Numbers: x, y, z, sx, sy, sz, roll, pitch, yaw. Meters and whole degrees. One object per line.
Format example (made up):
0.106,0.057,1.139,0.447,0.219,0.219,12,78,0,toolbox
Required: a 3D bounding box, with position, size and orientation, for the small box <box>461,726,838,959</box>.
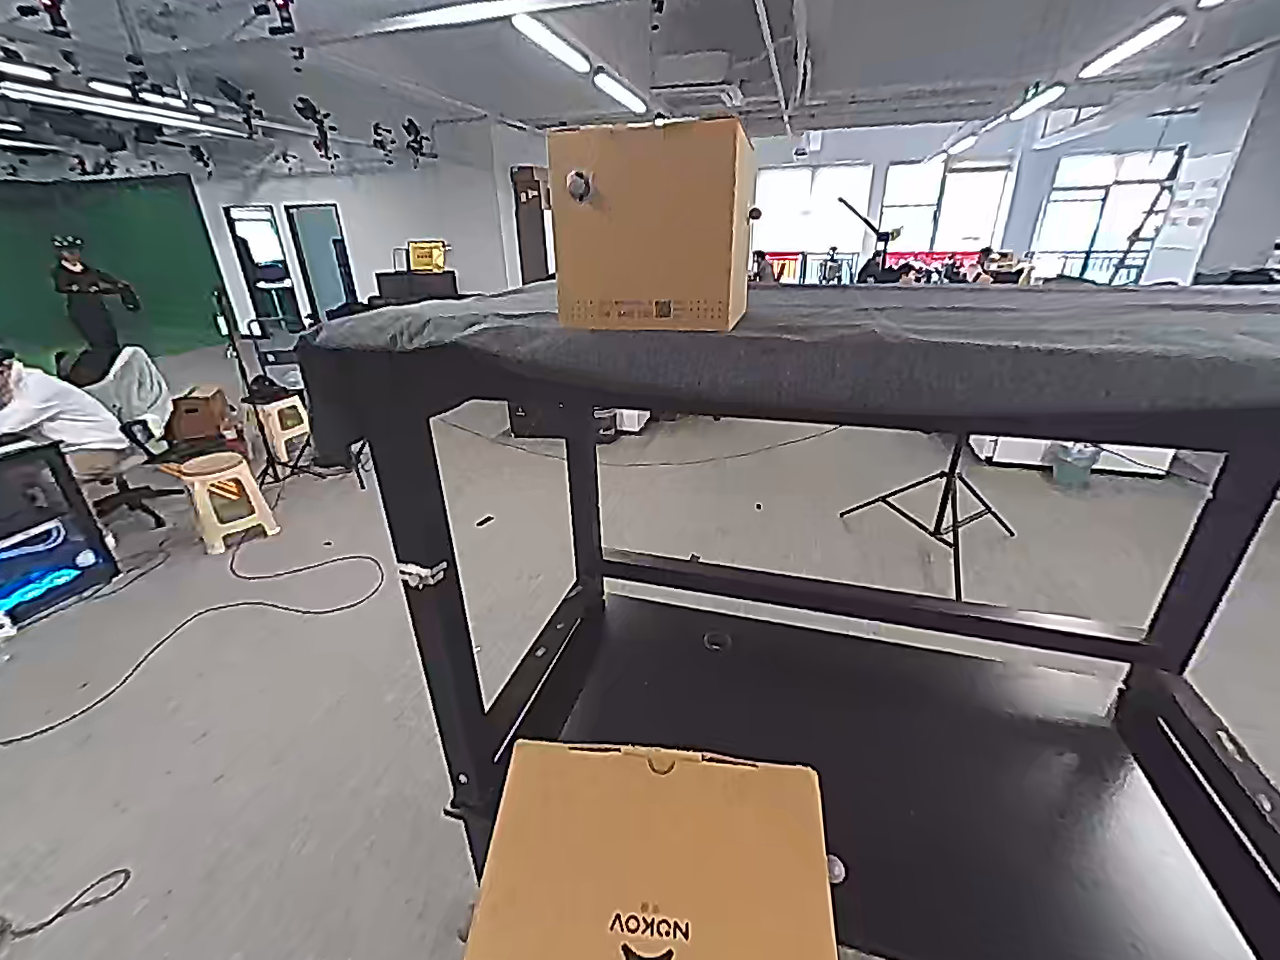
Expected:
0.007,0.258,0.294,0.168,0.176,0.179,3,46,5,small box
